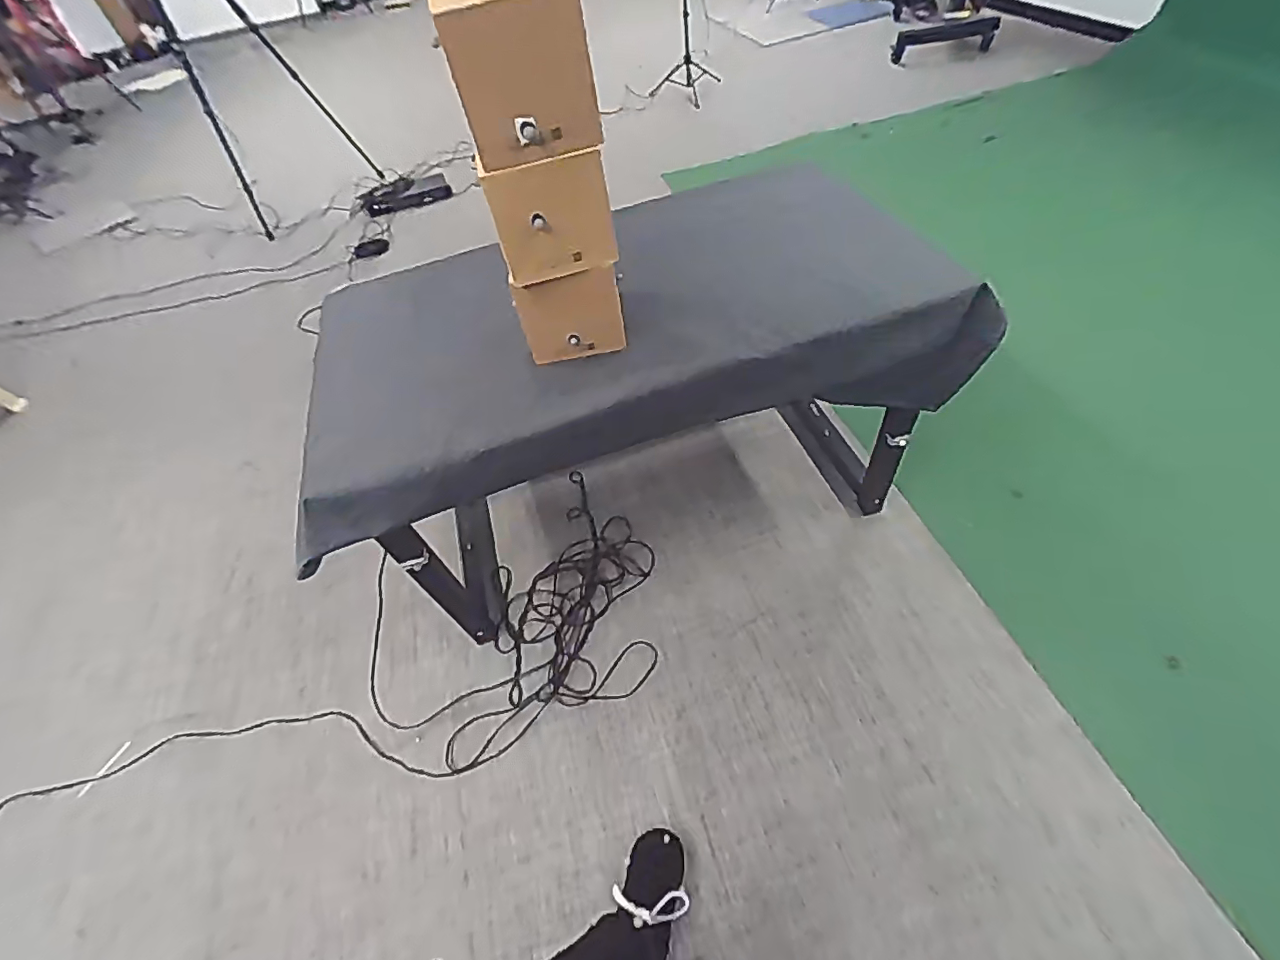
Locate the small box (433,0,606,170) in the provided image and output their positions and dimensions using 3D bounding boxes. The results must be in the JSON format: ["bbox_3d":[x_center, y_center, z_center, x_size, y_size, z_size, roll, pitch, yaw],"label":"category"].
[{"bbox_3d":[-0.153,-0.531,0.694,0.168,0.176,0.179,-18,53,-4],"label":"small box"}]

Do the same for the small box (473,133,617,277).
[{"bbox_3d":[-0.140,-0.428,0.820,0.168,0.176,0.179,-16,52,-3],"label":"small box"}]
